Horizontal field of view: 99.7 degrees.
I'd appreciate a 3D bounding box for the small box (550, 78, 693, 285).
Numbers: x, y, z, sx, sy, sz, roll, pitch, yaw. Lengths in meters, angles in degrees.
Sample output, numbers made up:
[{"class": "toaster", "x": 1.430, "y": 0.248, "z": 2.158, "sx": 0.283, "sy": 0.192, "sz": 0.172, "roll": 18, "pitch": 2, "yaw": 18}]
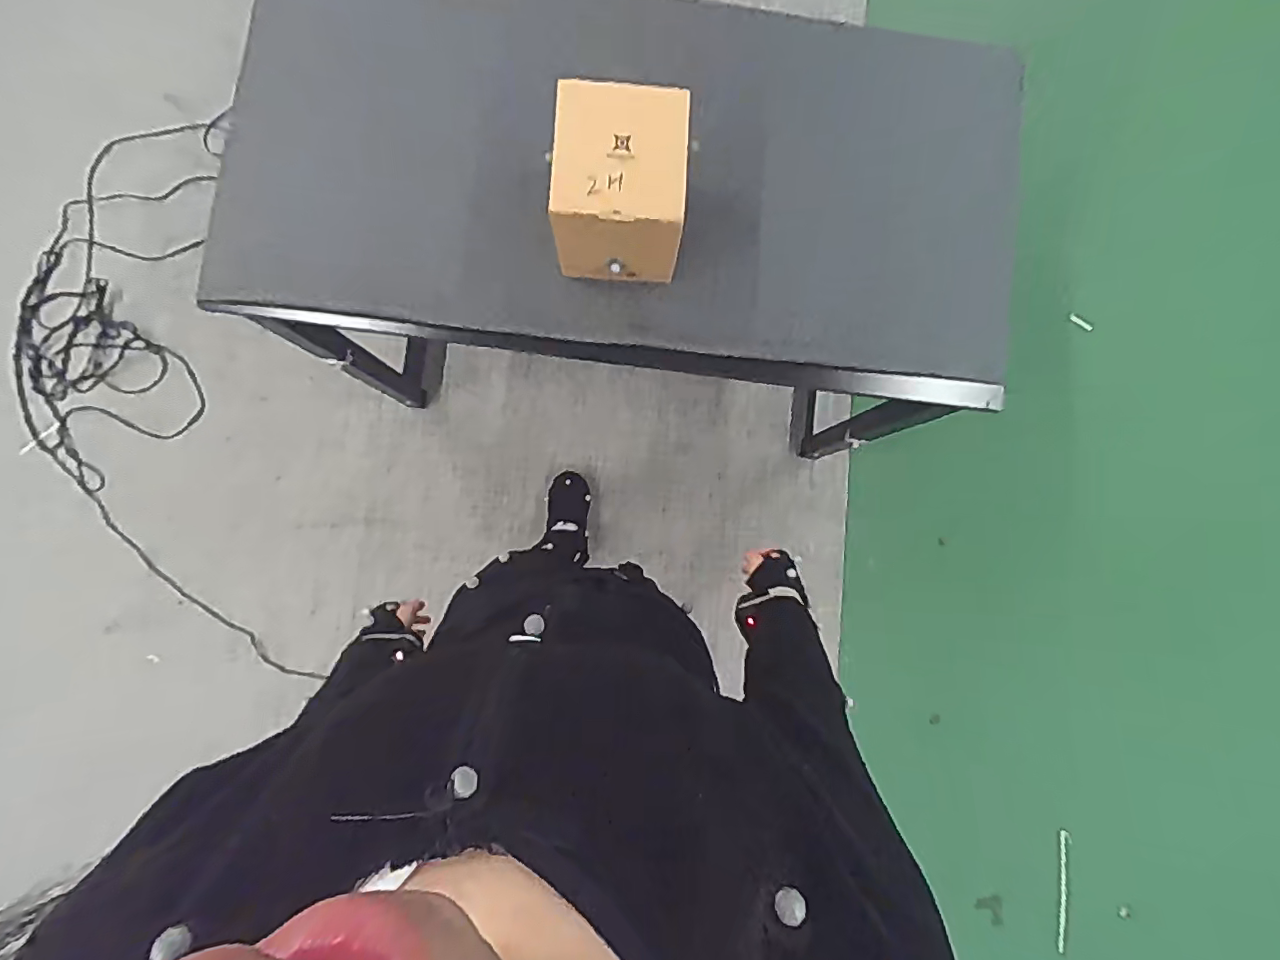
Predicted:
[{"class": "small box", "x": -0.025, "y": -0.389, "z": 0.729, "sx": 0.168, "sy": 0.176, "sz": 0.179, "roll": 3, "pitch": 84, "yaw": -2}]
